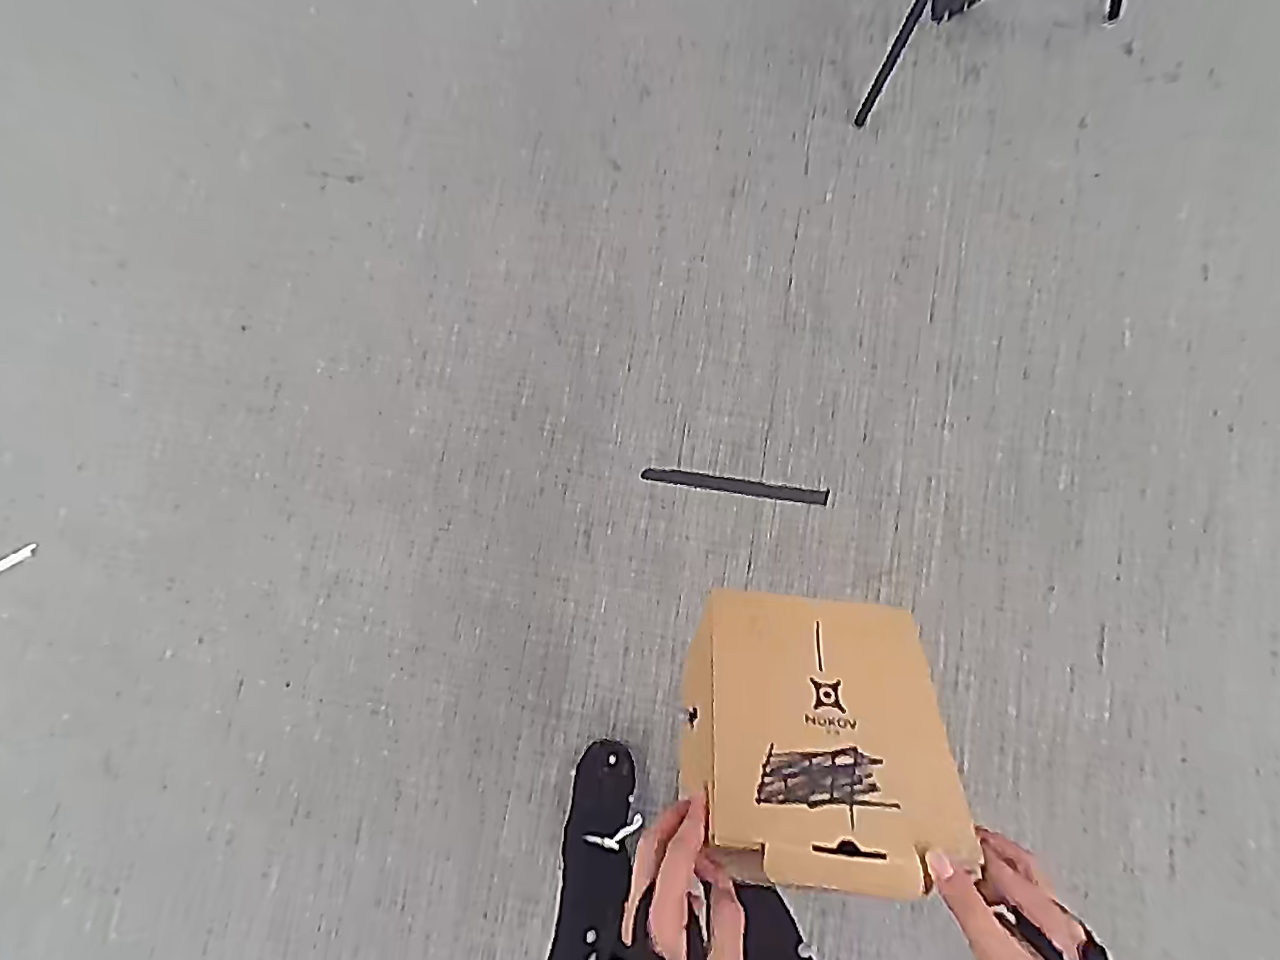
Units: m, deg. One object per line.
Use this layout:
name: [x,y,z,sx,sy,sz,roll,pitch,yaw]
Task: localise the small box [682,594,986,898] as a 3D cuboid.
small box: [0.127,0.216,0.435,0.168,0.176,0.179,6,47,0]
